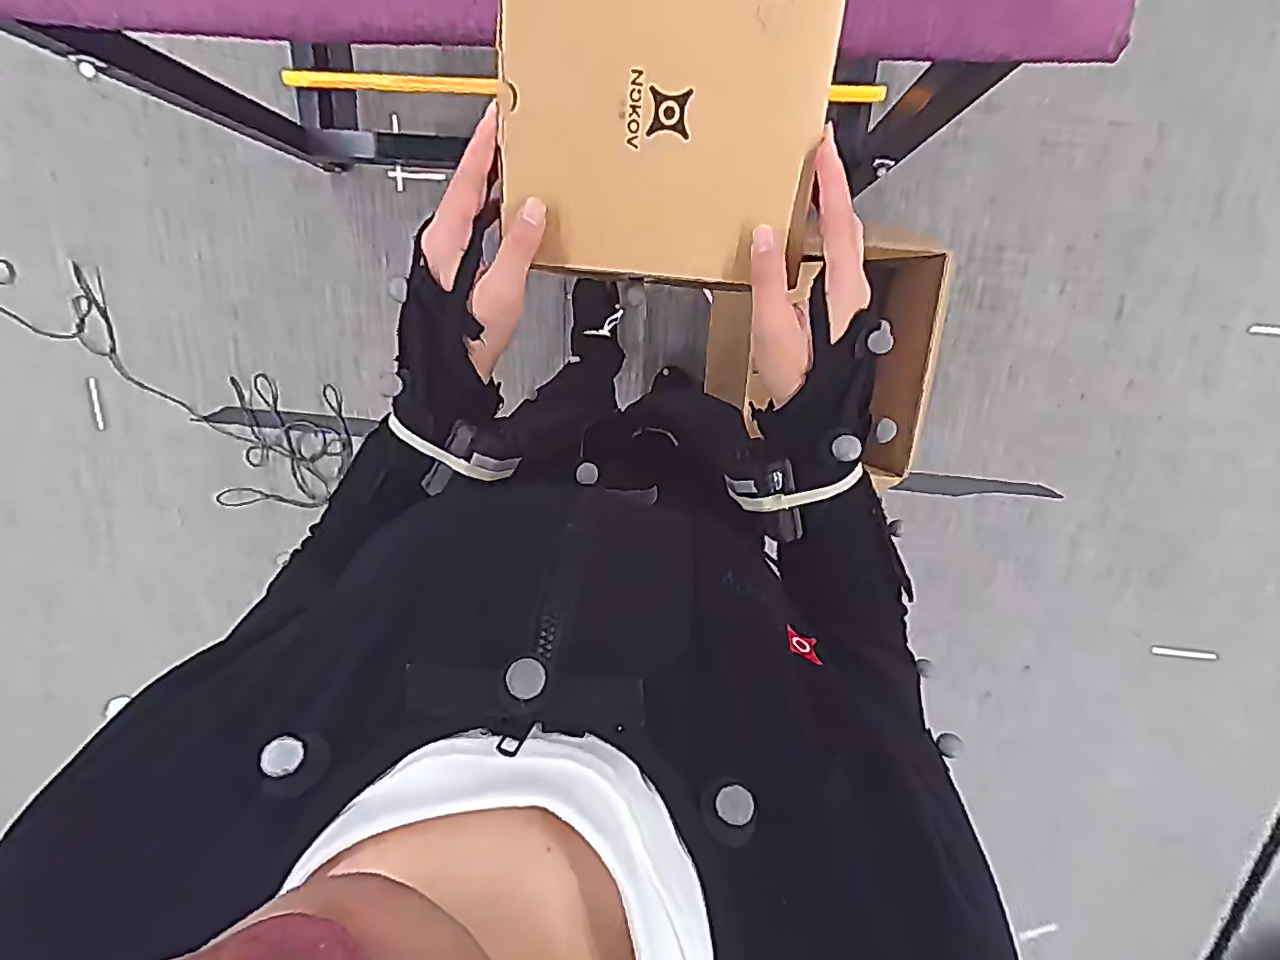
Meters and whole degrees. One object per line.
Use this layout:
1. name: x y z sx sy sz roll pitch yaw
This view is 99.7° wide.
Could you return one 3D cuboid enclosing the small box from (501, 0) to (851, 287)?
1. small box: 0.016 -0.225 0.360 0.179 0.176 0.168 6 110 1
